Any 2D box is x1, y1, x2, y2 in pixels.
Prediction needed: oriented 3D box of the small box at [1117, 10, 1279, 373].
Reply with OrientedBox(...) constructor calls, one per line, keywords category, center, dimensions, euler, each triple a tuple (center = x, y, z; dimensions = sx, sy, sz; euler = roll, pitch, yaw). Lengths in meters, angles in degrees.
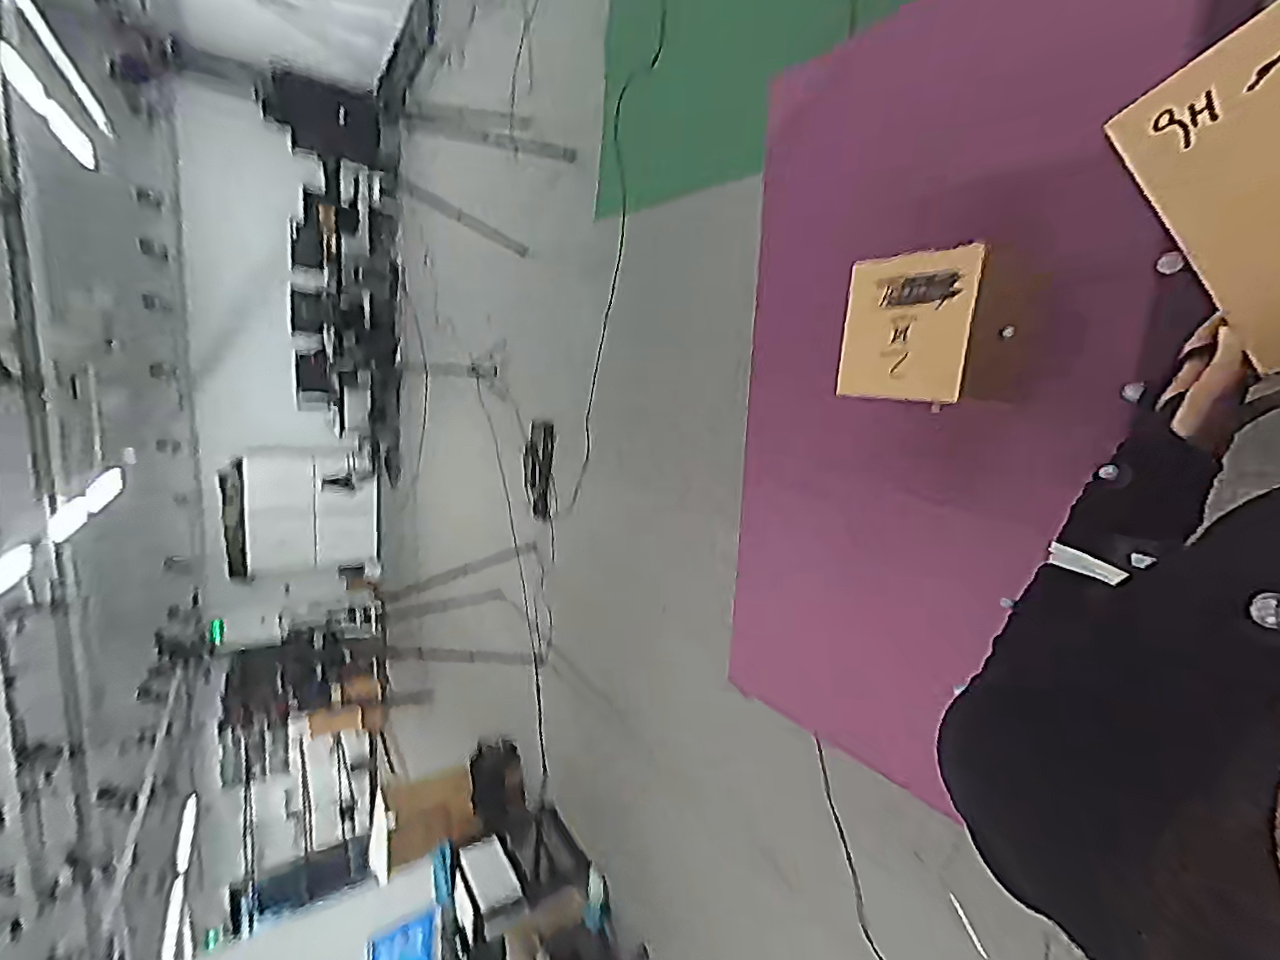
OrientedBox(category="small box", center=(0.423, -0.186, 0.310), dimensions=(0.168, 0.176, 0.179), euler=(-30, 83, 48))
